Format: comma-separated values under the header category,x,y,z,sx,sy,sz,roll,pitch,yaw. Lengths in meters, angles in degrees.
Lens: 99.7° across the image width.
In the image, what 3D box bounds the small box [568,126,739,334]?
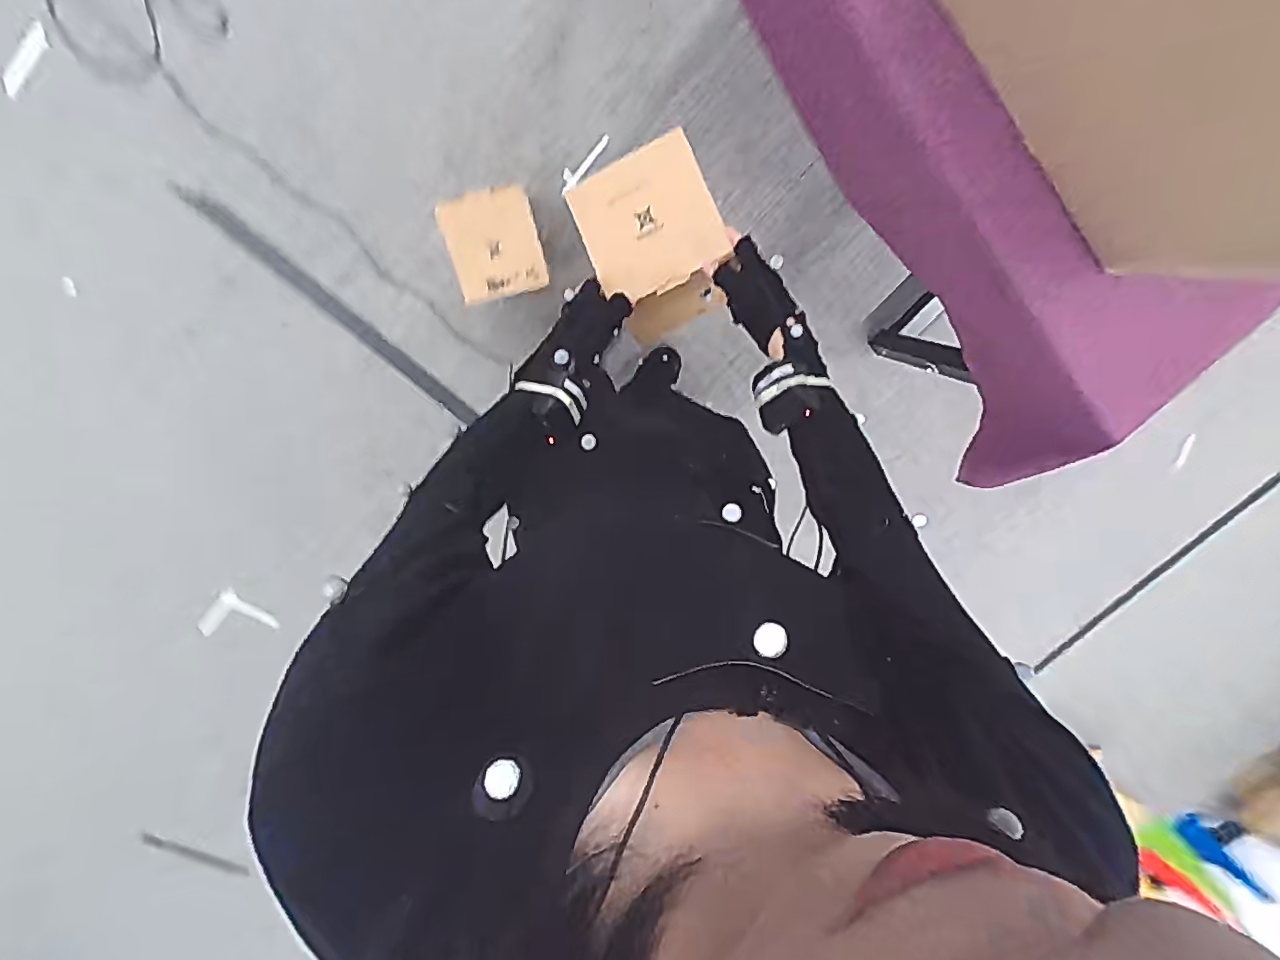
category,x,y,z,sx,sy,sz,roll,pitch,yaw
small box,0.030,-0.316,0.732,0.168,0.176,0.179,-22,84,10

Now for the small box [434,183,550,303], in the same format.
category,x,y,z,sx,sy,sz,roll,pitch,yaw
small box,-0.280,-0.457,1.056,0.168,0.176,0.179,-15,114,-3
